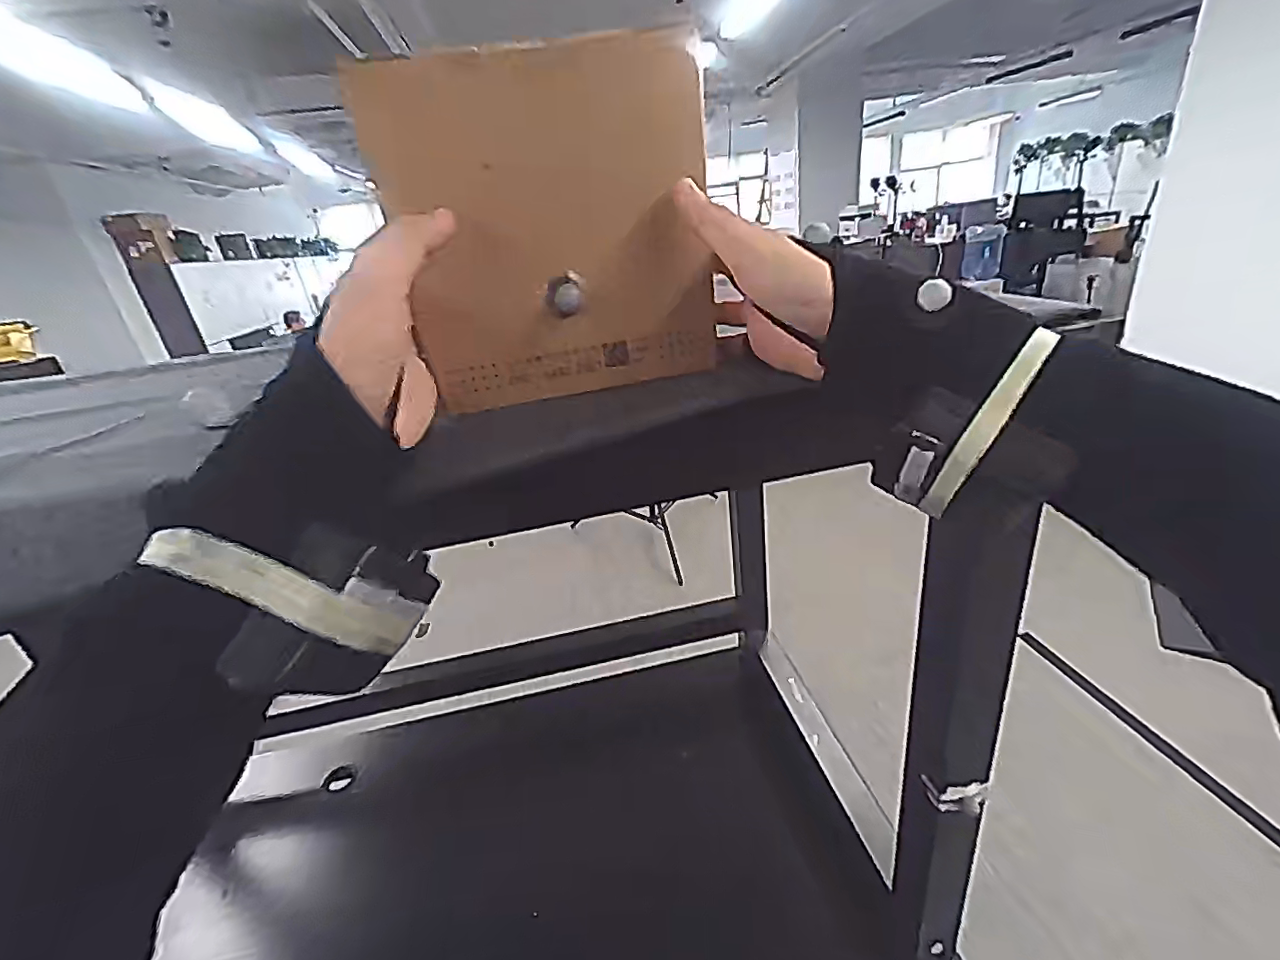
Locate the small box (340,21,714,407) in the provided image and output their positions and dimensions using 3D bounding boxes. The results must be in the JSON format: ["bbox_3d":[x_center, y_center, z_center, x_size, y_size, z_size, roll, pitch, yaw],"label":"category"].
[{"bbox_3d":[-0.057,-0.161,0.353,0.168,0.176,0.179,-12,29,-5],"label":"small box"}]
